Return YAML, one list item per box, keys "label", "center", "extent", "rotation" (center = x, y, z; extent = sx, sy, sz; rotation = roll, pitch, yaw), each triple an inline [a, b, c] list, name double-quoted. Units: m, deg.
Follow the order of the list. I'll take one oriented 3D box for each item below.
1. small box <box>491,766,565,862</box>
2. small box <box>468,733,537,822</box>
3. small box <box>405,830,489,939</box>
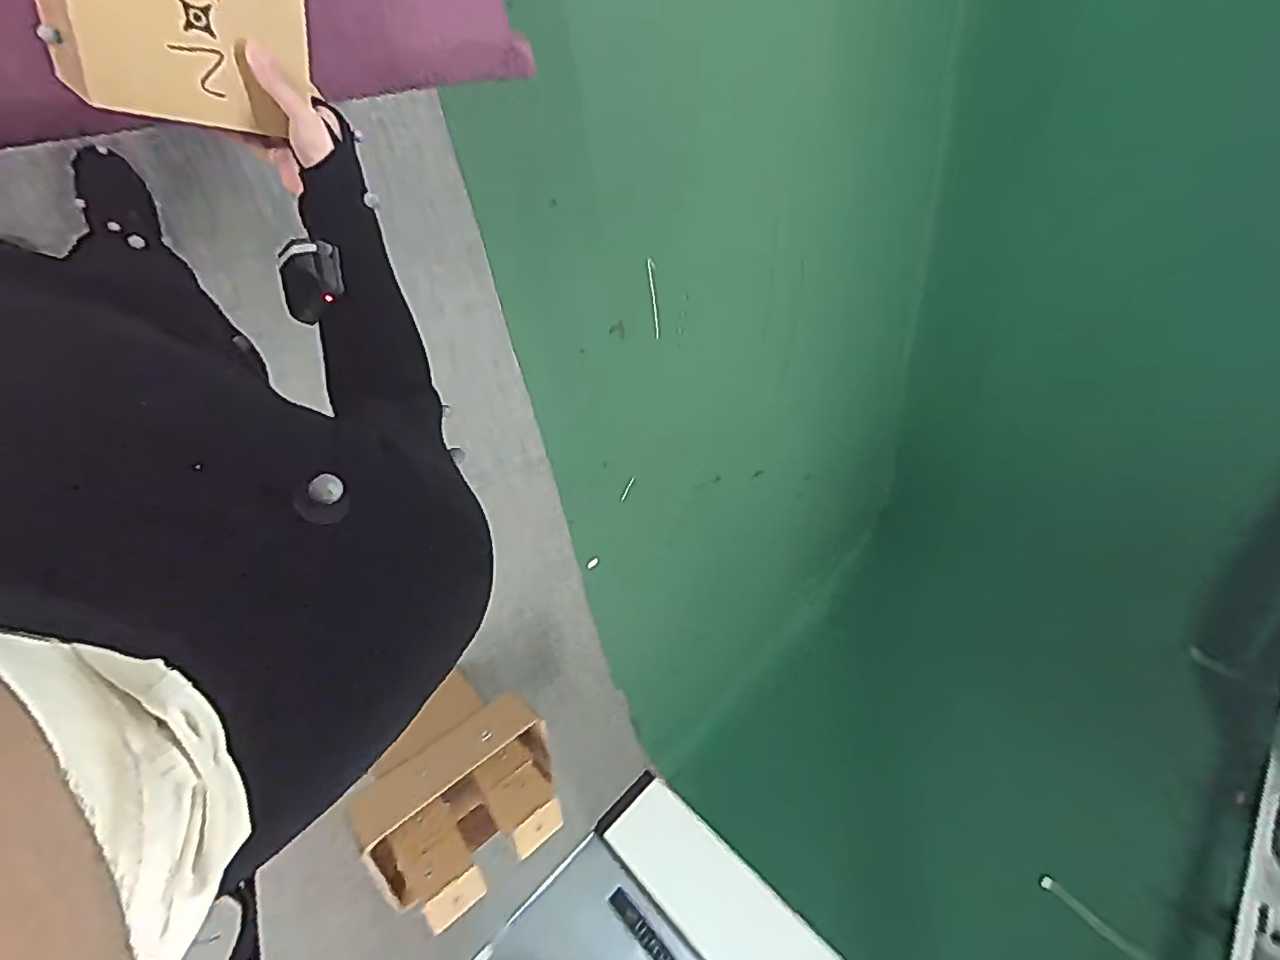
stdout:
- label: "small box"
  center: [-0.368, 1.091, 1.778]
  extent: [0.168, 0.176, 0.179]
  rotation: [-25, 126, -34]
- label: "small box"
  center: [-0.475, 1.031, 1.887]
  extent: [0.179, 0.176, 0.168]
  rotation: [-24, 125, -35]
- label: "small box"
  center: [-0.578, 1.196, 1.616]
  extent: [0.168, 0.176, 0.179]
  rotation: [-25, 127, -33]
